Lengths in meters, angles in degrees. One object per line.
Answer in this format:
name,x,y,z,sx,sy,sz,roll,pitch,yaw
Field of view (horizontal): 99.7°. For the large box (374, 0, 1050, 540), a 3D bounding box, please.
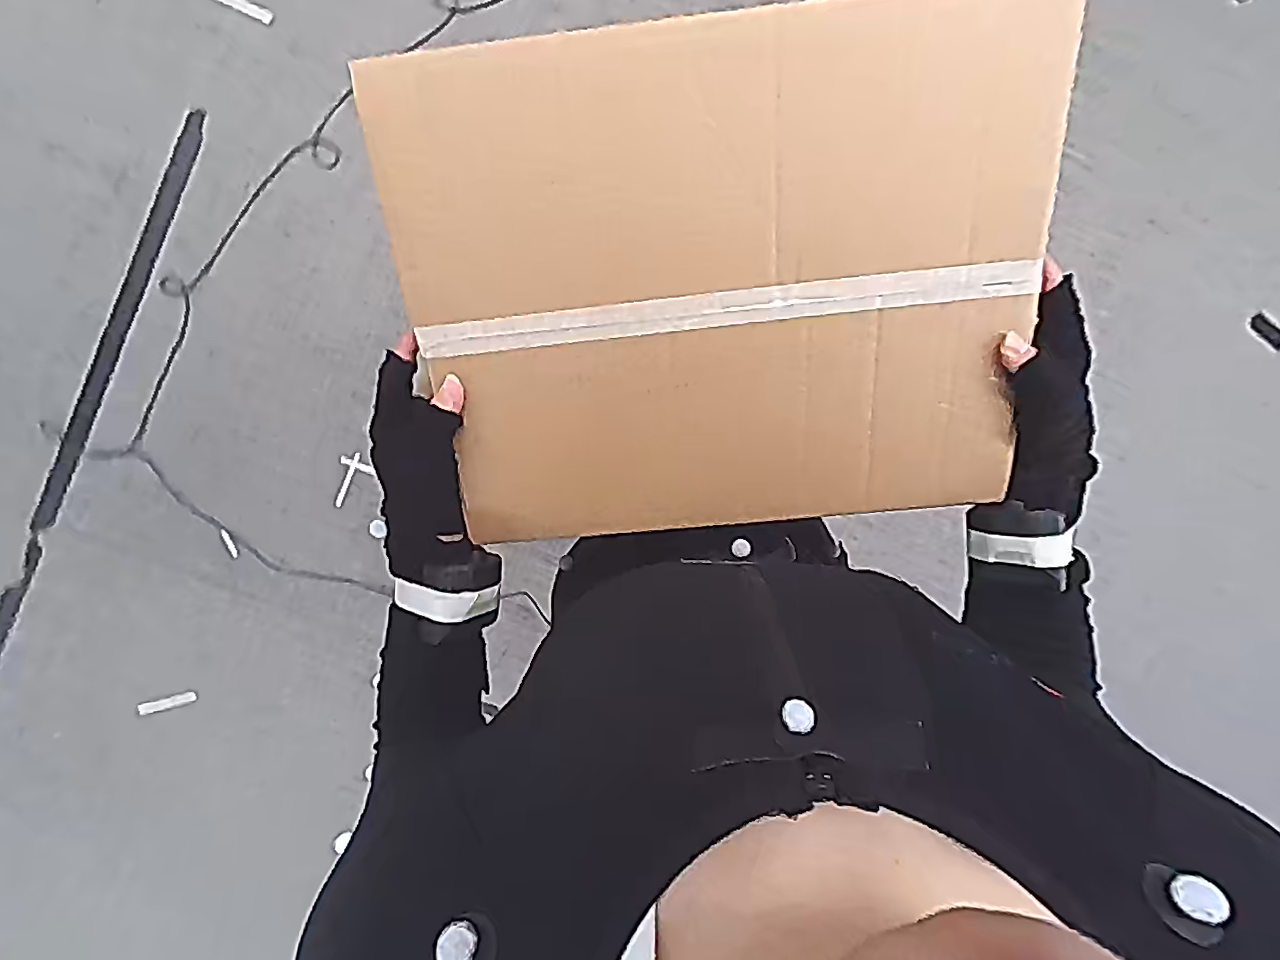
large box,0.051,-0.169,0.506,0.408,0.320,0.320,-6,114,3
